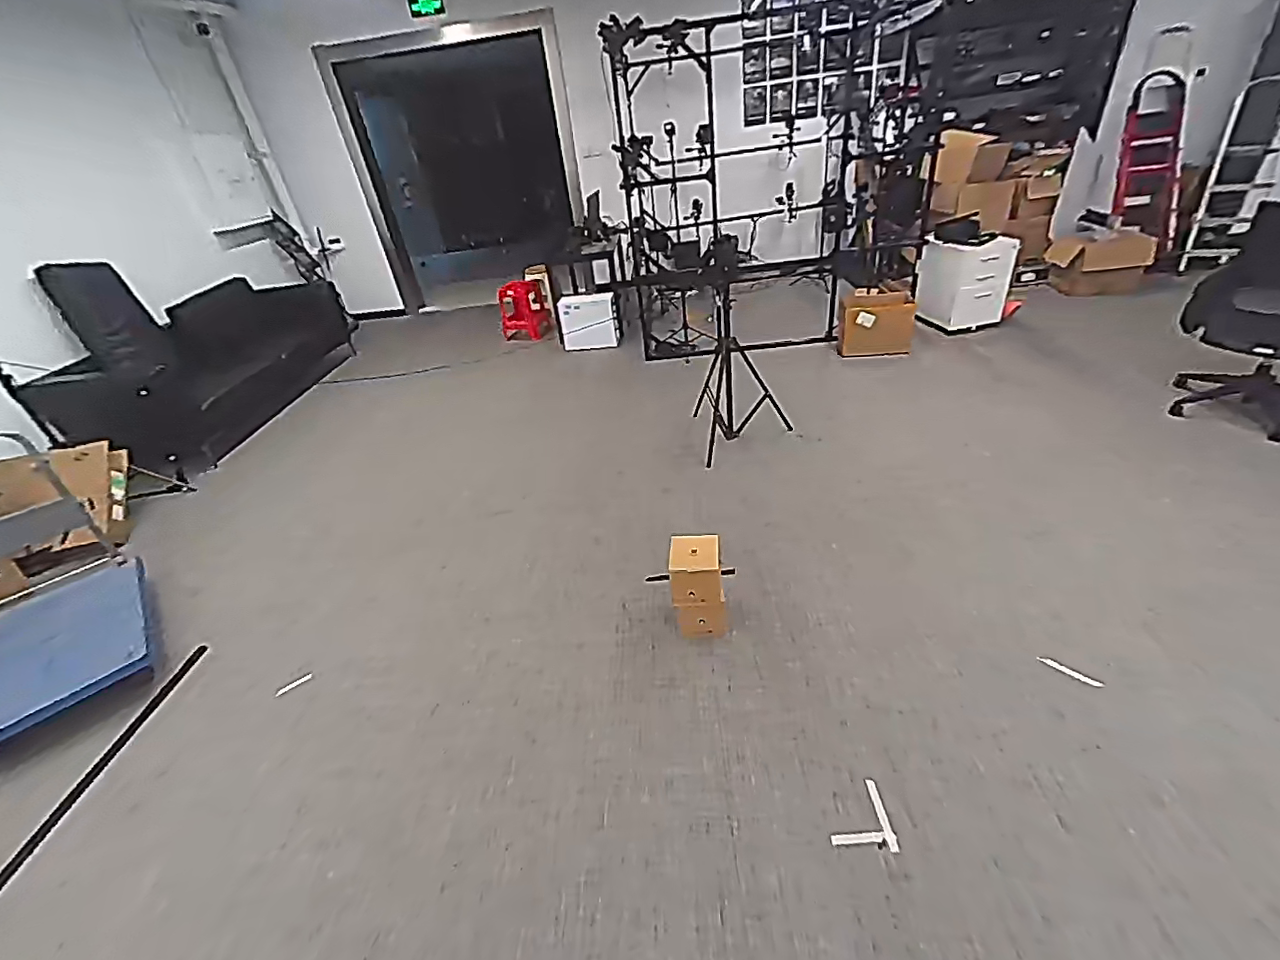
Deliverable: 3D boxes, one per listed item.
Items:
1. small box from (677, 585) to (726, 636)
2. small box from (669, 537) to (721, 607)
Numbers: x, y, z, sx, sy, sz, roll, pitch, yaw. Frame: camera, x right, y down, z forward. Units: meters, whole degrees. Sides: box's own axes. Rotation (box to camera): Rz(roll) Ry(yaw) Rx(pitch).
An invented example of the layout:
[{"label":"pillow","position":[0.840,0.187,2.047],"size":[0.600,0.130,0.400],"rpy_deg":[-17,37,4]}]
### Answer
[{"label":"small box","position":[0.218,0.449,1.962],"size":[0.168,0.176,0.179],"rpy_deg":[-6,32,3]},{"label":"small box","position":[0.191,0.316,1.871],"size":[0.168,0.176,0.179],"rpy_deg":[-3,34,9]}]
